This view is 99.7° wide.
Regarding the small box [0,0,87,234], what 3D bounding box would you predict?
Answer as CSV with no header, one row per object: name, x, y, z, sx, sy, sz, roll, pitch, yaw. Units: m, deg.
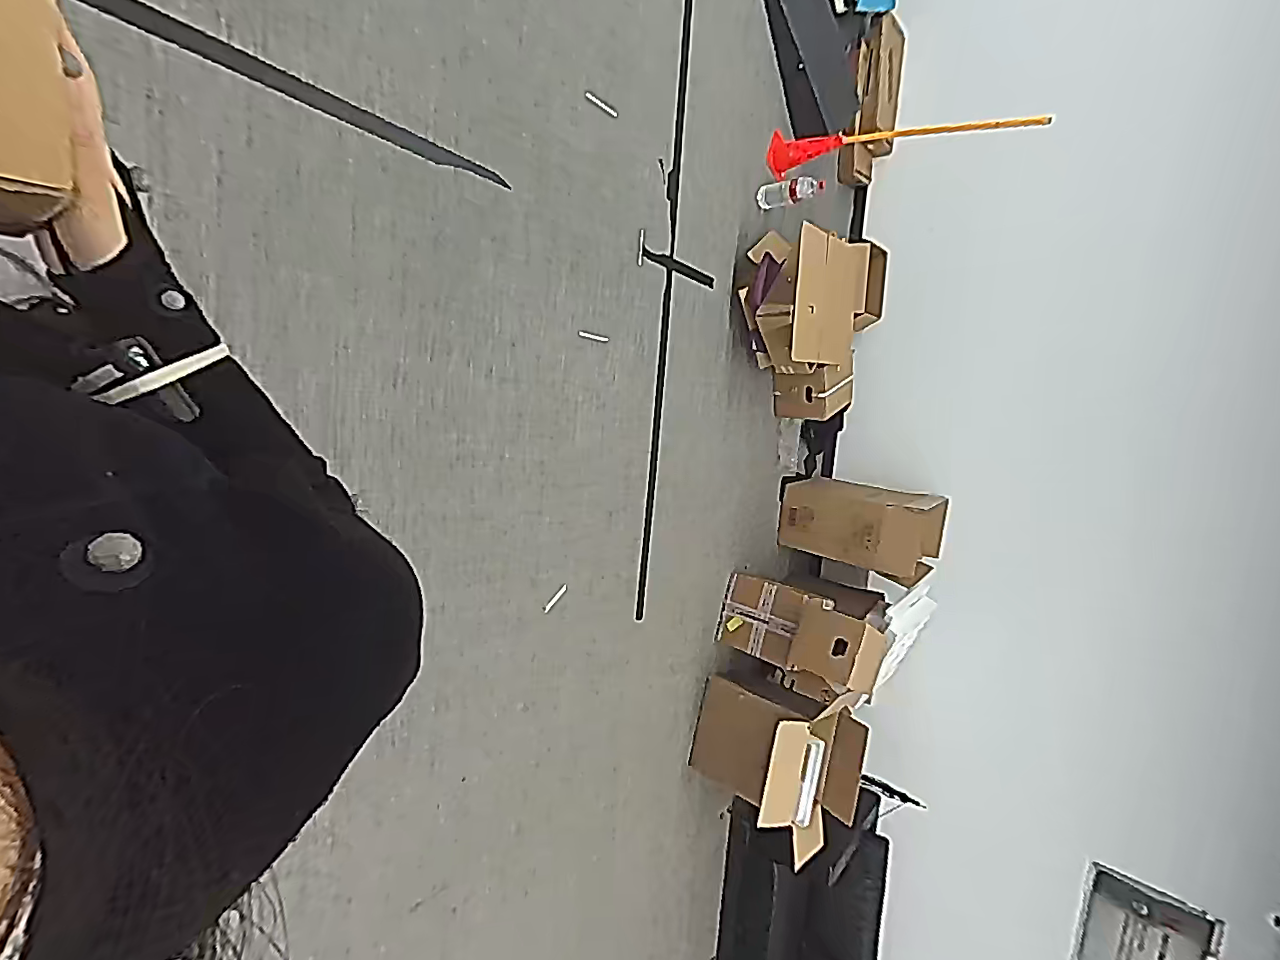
small box,-0.377,-0.224,0.235,0.168,0.176,0.179,-9,104,-54
